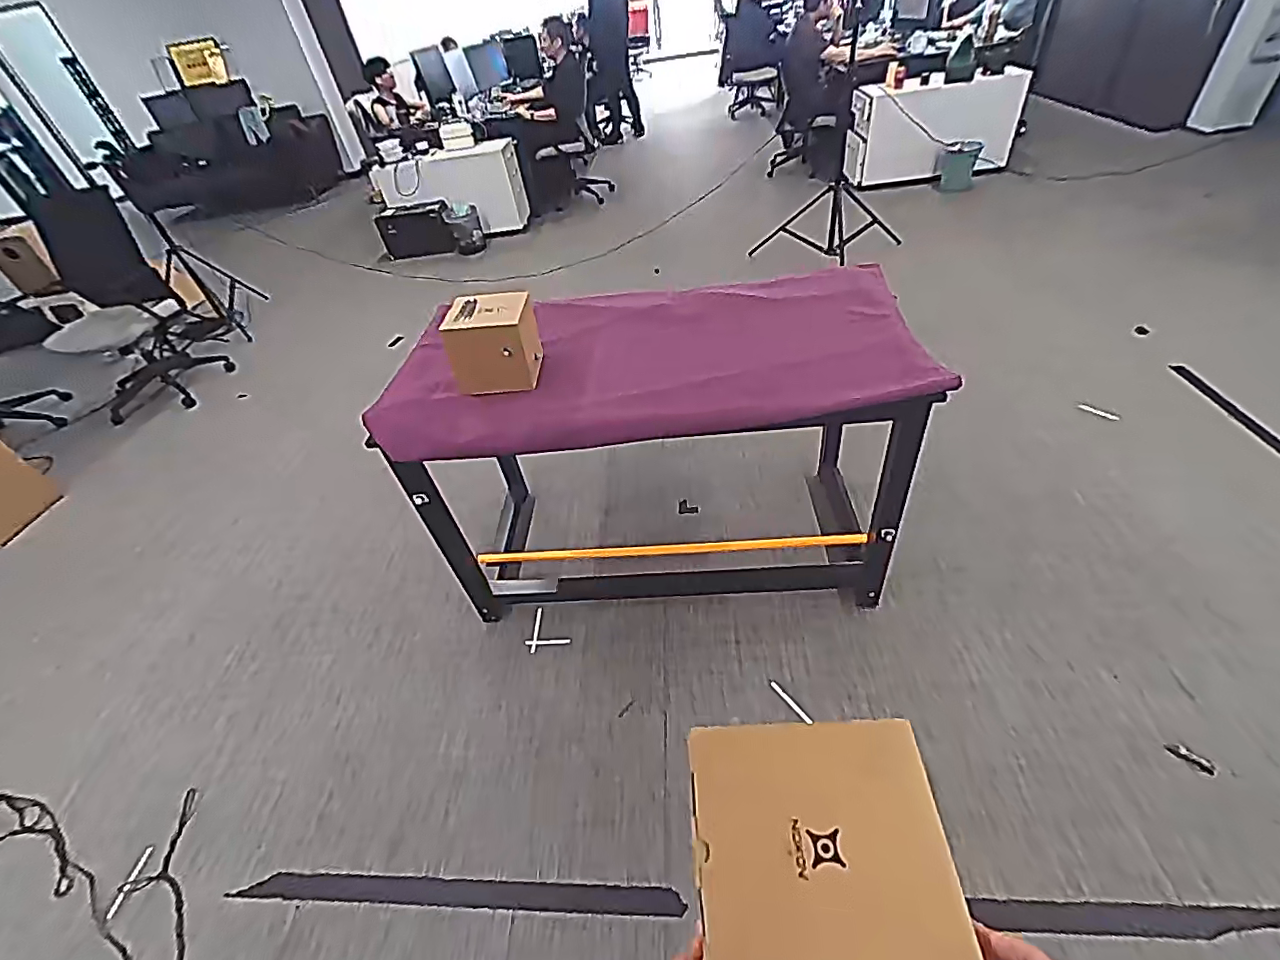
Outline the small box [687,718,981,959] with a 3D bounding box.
[{"bbox_3d":[0.136,0.305,0.442,0.179,0.176,0.168,-7,51,6],"label":"small box"}]
